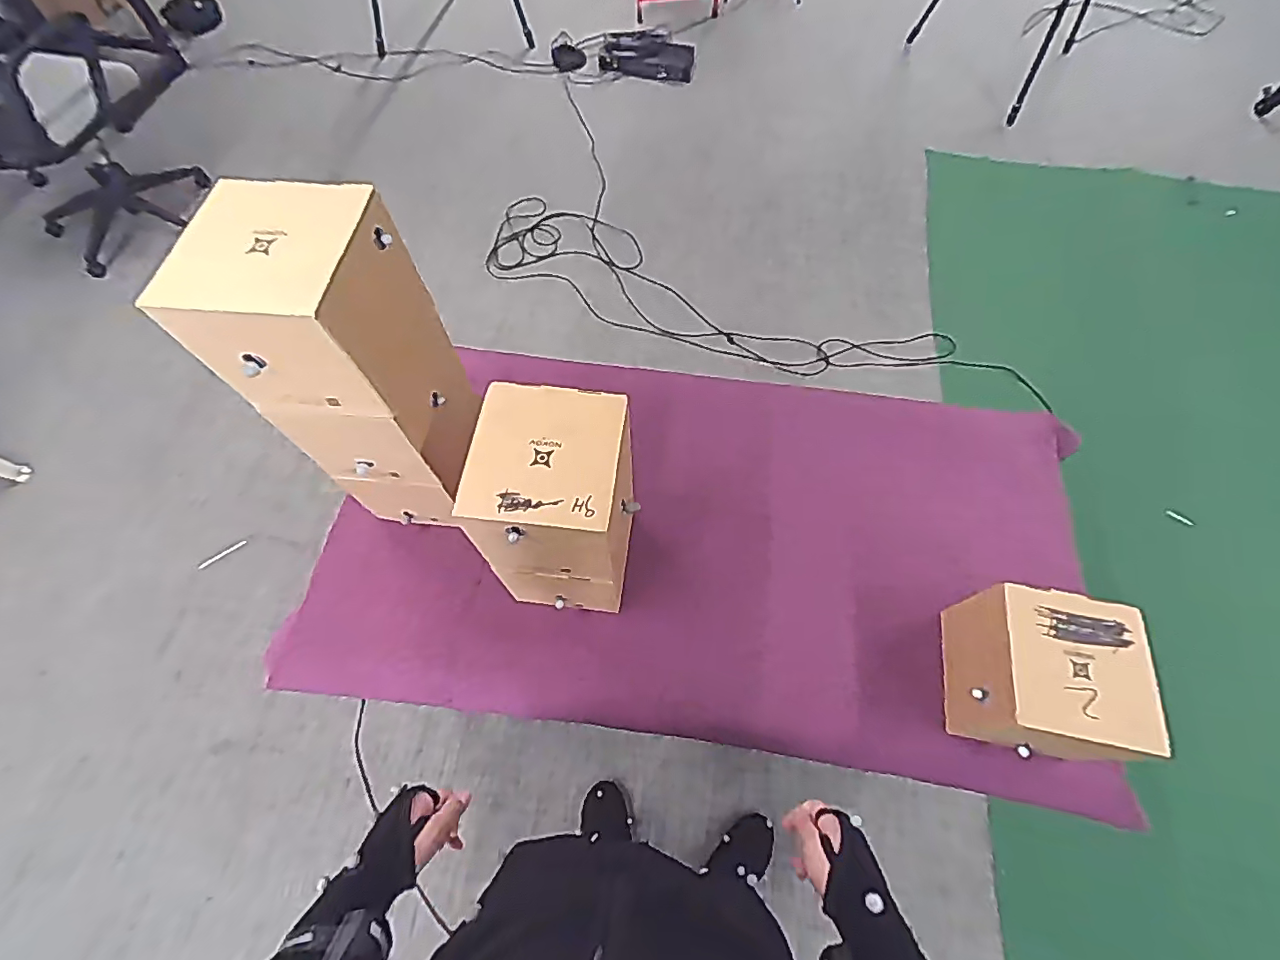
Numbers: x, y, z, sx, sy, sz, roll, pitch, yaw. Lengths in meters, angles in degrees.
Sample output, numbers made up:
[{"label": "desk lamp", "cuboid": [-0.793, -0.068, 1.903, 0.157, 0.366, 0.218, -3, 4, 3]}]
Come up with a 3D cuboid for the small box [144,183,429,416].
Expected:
[{"label": "small box", "cuboid": [-0.350, -0.185, 0.581, 0.168, 0.176, 0.179, 4, 63, 3]}]

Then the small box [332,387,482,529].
[{"label": "small box", "cuboid": [-0.349, -0.039, 0.872, 0.168, 0.176, 0.179, 5, 64, 3]}]

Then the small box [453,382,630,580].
[{"label": "small box", "cuboid": [-0.104, 0.007, 0.664, 0.168, 0.176, 0.179, 6, 62, 4]}]

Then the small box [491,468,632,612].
[{"label": "small box", "cuboid": [-0.104, 0.083, 0.810, 0.168, 0.176, 0.179, 6, 64, 4]}]

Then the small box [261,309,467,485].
[{"label": "small box", "cuboid": [-0.349, -0.113, 0.727, 0.168, 0.176, 0.179, 5, 64, 3]}]
